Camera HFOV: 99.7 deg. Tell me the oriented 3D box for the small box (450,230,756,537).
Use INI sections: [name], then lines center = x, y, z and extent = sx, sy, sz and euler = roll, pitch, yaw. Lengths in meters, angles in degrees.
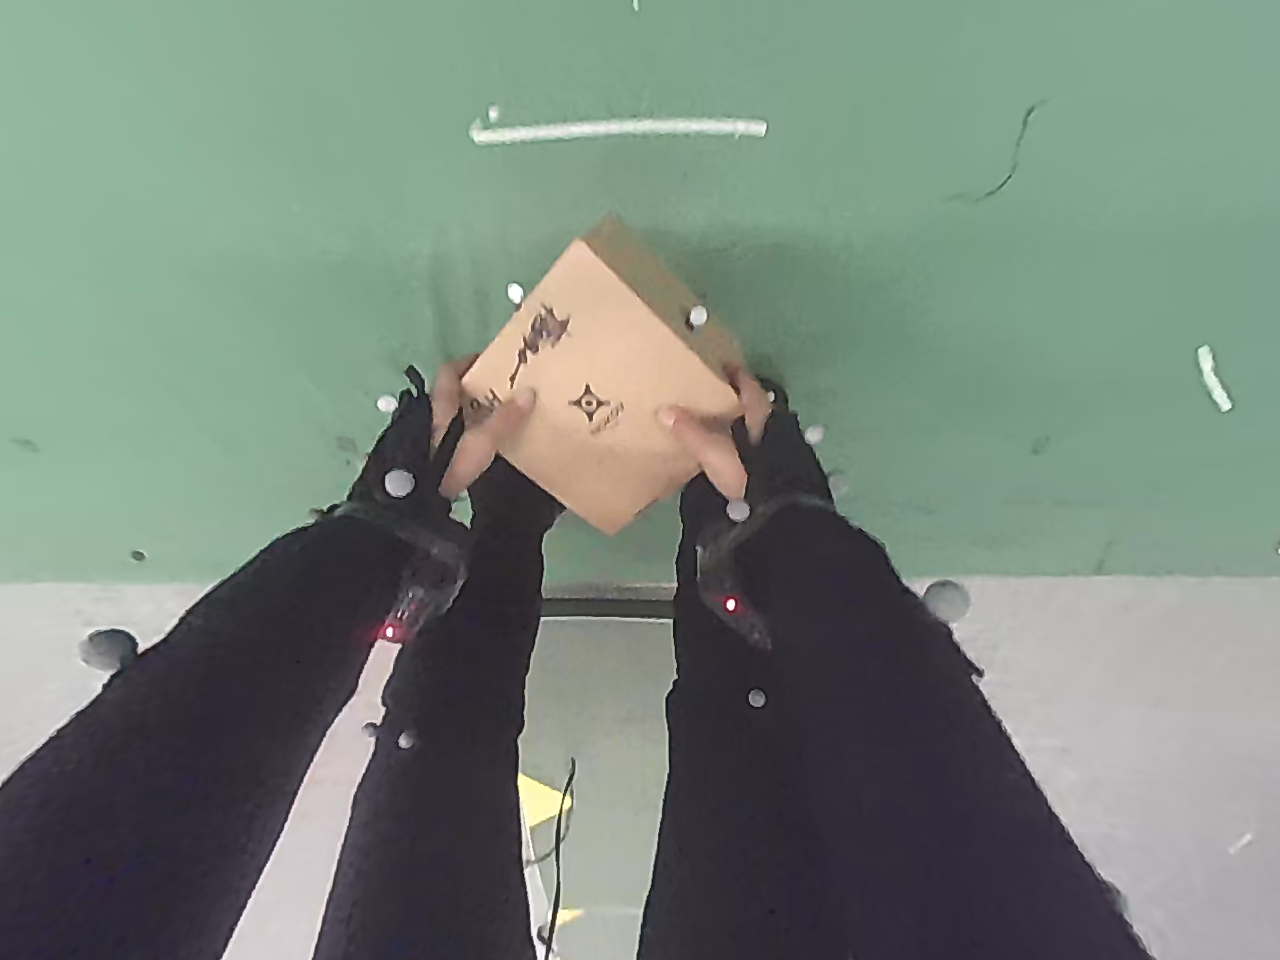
[small box]
center = -0.023, -0.090, 0.473
extent = 0.179, 0.176, 0.168
euler = 40, 116, -19
